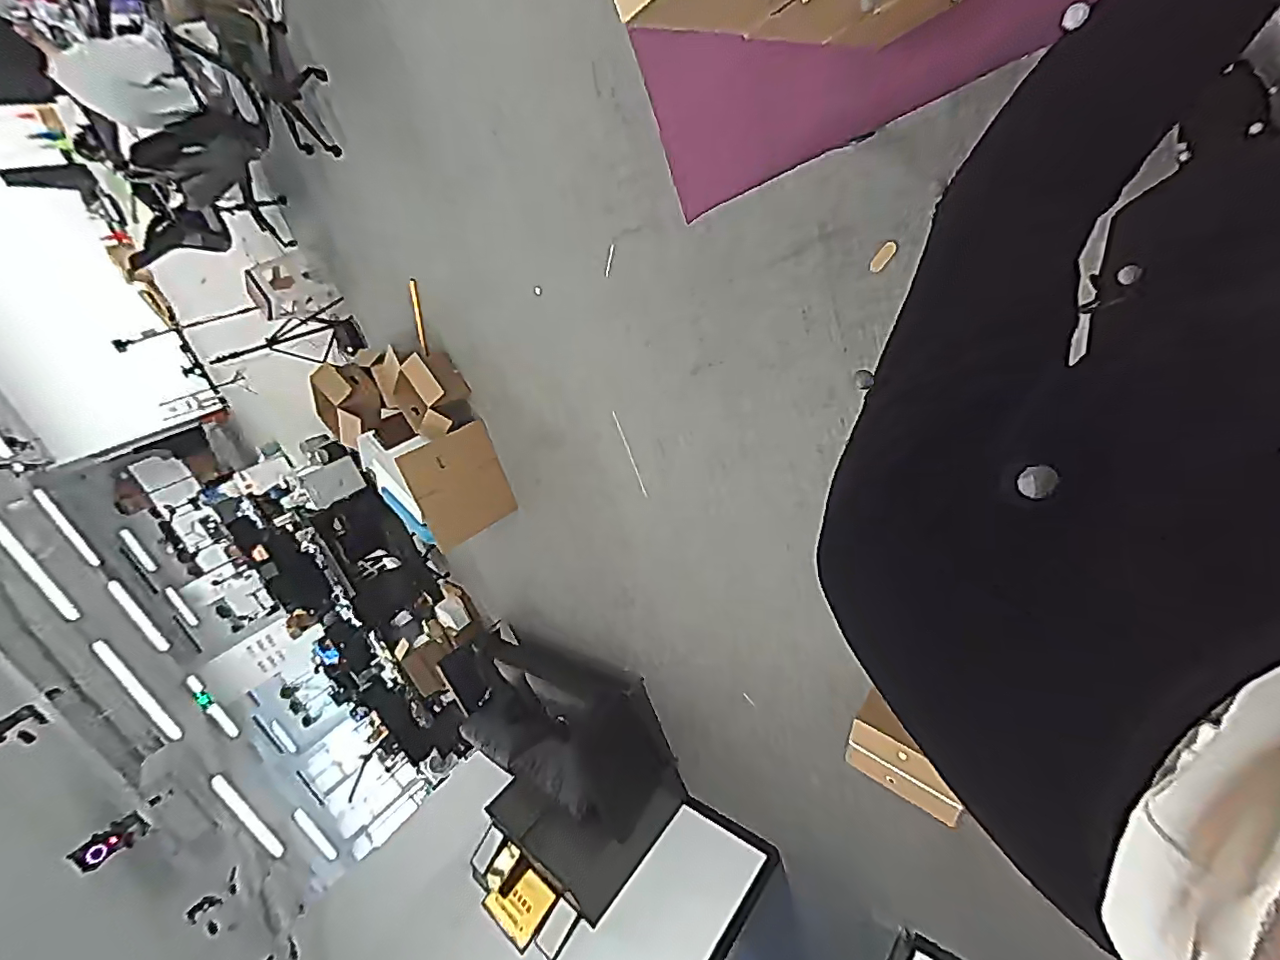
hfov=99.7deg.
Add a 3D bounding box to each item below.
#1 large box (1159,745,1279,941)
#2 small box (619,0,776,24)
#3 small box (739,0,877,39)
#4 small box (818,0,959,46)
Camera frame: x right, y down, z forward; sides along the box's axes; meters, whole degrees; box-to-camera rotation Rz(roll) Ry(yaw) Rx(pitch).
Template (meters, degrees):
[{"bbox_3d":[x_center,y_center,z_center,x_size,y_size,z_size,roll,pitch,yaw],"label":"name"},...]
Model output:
[{"bbox_3d":[1.644,0.903,1.350,0.320,0.320,0.408,49,142,6],"label":"large box"},{"bbox_3d":[0.072,-0.452,0.366,0.168,0.176,0.179,2,118,45],"label":"small box"},{"bbox_3d":[0.177,-0.527,0.470,0.168,0.176,0.179,1,118,46],"label":"small box"},{"bbox_3d":[0.285,-0.599,0.569,0.168,0.176,0.179,1,117,46],"label":"small box"}]
